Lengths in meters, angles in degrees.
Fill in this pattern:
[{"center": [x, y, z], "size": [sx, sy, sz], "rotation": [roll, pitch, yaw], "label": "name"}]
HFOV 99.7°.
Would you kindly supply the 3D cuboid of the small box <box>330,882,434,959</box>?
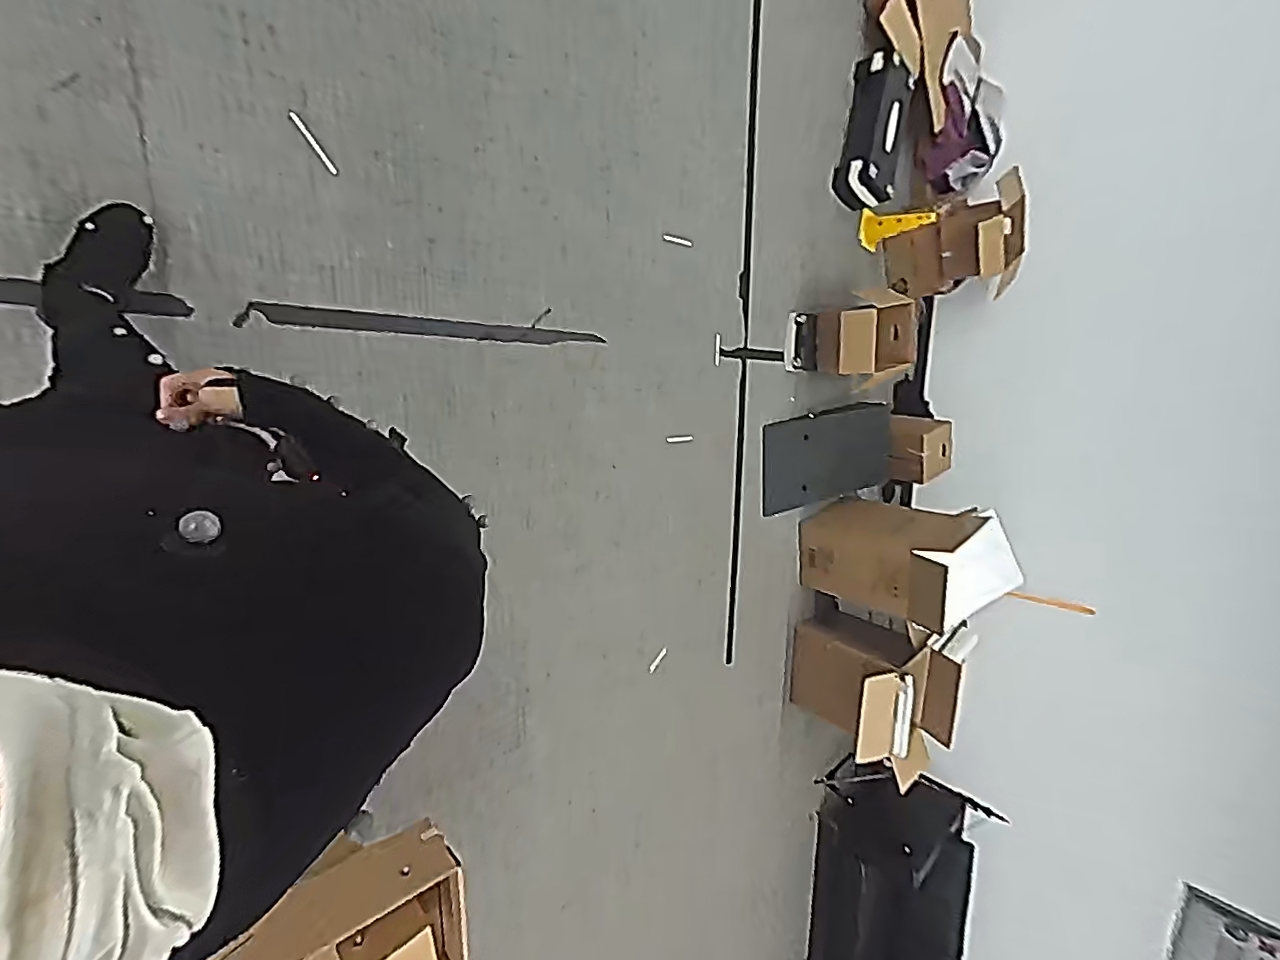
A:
[{"center": [-0.594, 1.095, 1.244], "size": [0.179, 0.176, 0.168], "rotation": [-15, 110, -41], "label": "small box"}]
